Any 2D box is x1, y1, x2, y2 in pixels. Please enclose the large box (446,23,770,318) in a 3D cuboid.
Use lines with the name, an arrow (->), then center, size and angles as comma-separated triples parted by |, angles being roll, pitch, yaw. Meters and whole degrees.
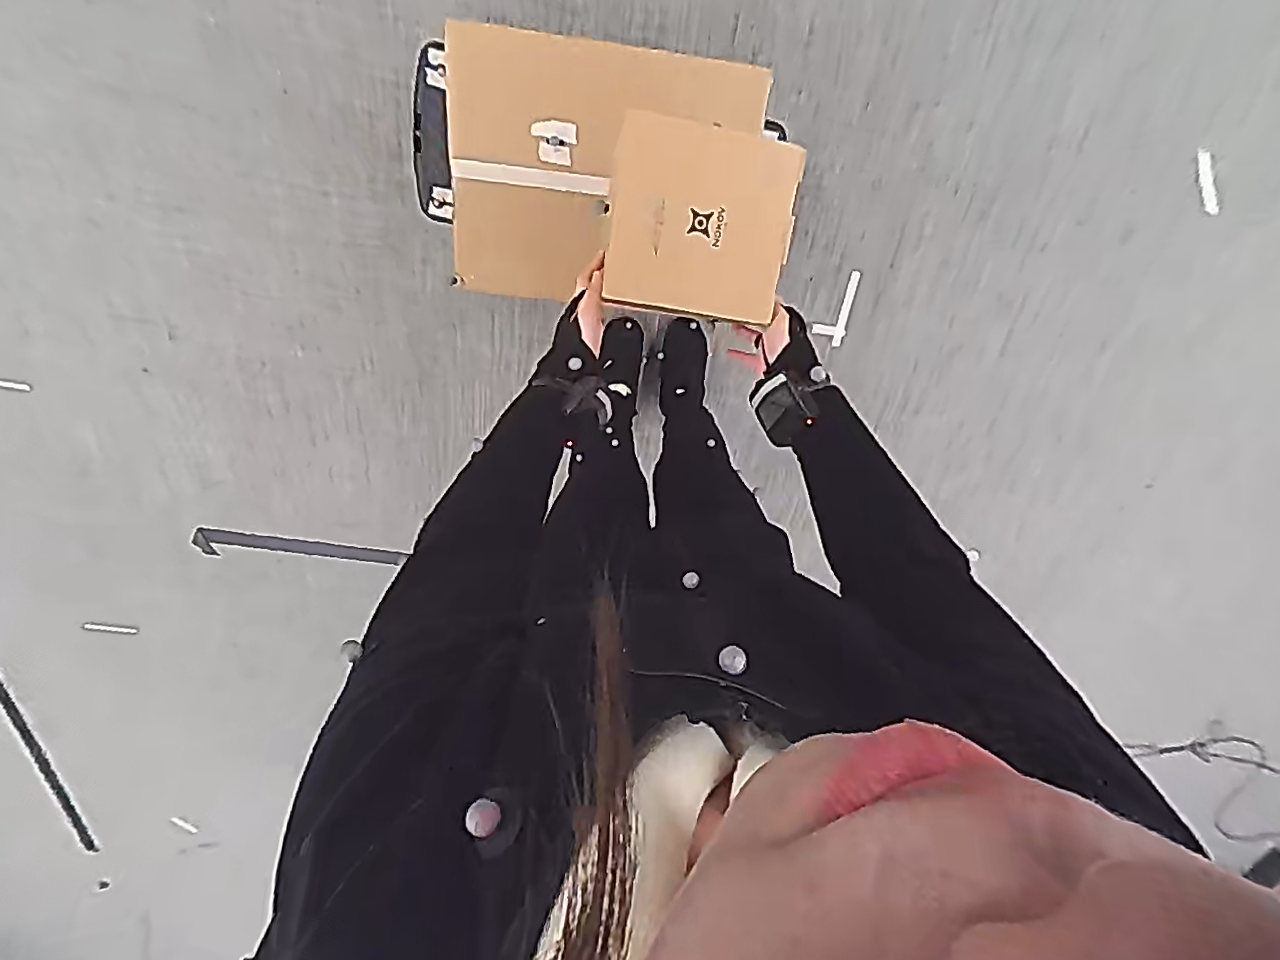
large box -> -0.050, -0.464, 0.854 | 0.408, 0.320, 0.320 | 6, 117, -4

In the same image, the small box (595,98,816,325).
small box -> 0.053, -0.267, 0.577 | 0.179, 0.176, 0.168 | 7, 107, -10
